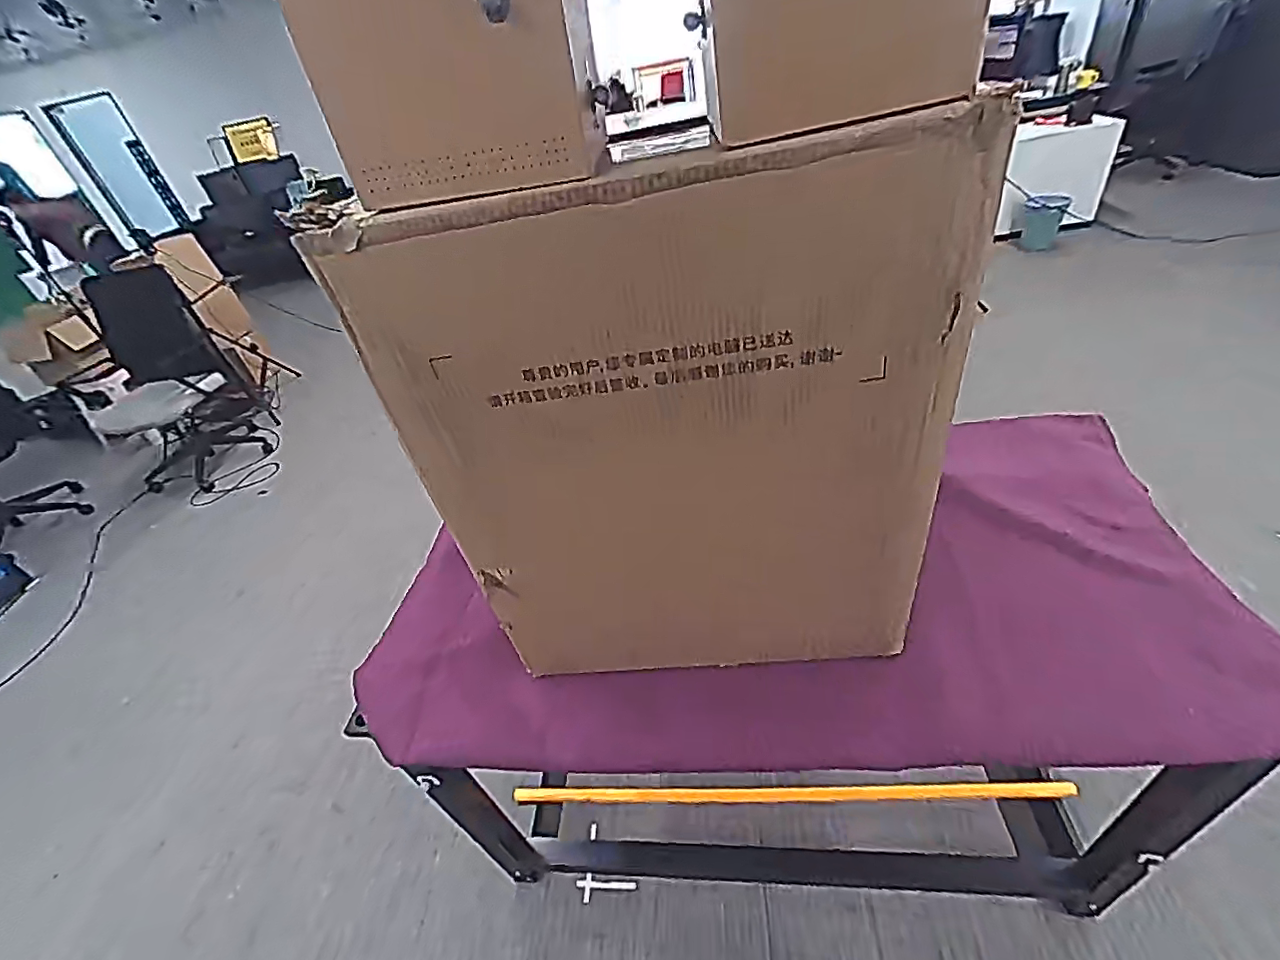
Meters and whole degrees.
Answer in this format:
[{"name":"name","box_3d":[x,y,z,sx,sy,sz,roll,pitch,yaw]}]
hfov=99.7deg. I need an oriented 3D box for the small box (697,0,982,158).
[{"name":"small box","box_3d":[0.127,-0.348,0.376,0.168,0.176,0.179,-8,38,8]}]
